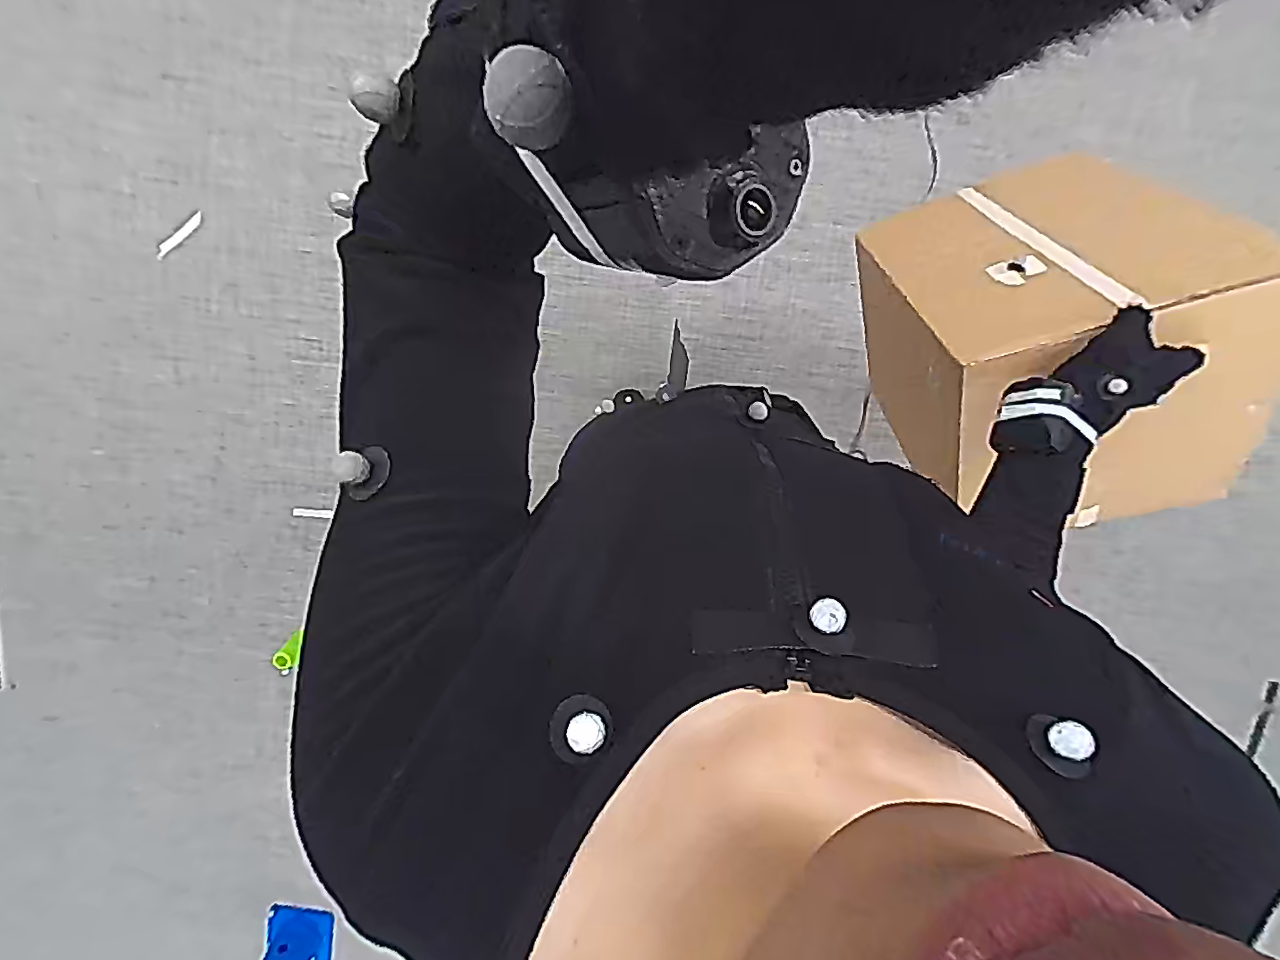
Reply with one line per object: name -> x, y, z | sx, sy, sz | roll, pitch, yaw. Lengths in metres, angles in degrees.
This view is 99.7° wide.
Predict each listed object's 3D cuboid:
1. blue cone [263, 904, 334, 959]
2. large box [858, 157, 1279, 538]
blue cone -> -1.060, 1.444, 1.532 | 0.192, 0.380, 0.193 | 10, 98, -1
large box -> 0.524, -0.186, 0.758 | 0.320, 0.408, 0.320 | -13, 133, 14
